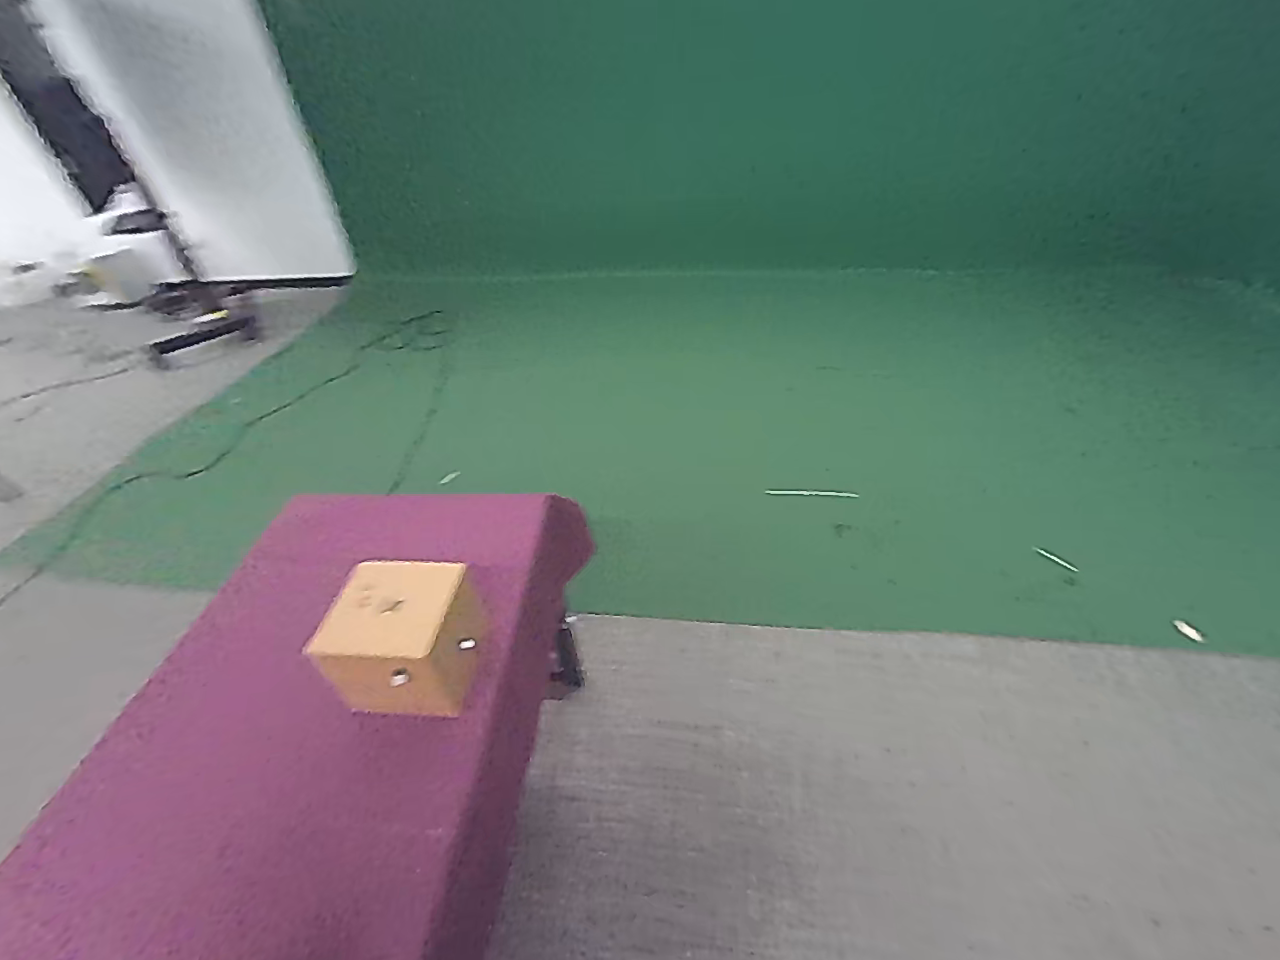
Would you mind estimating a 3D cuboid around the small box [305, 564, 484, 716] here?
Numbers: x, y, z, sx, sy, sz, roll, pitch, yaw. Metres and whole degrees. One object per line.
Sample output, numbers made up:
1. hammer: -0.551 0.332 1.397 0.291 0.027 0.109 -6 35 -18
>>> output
1. small box: -0.364 0.251 0.845 0.179 0.176 0.168 0 40 6
